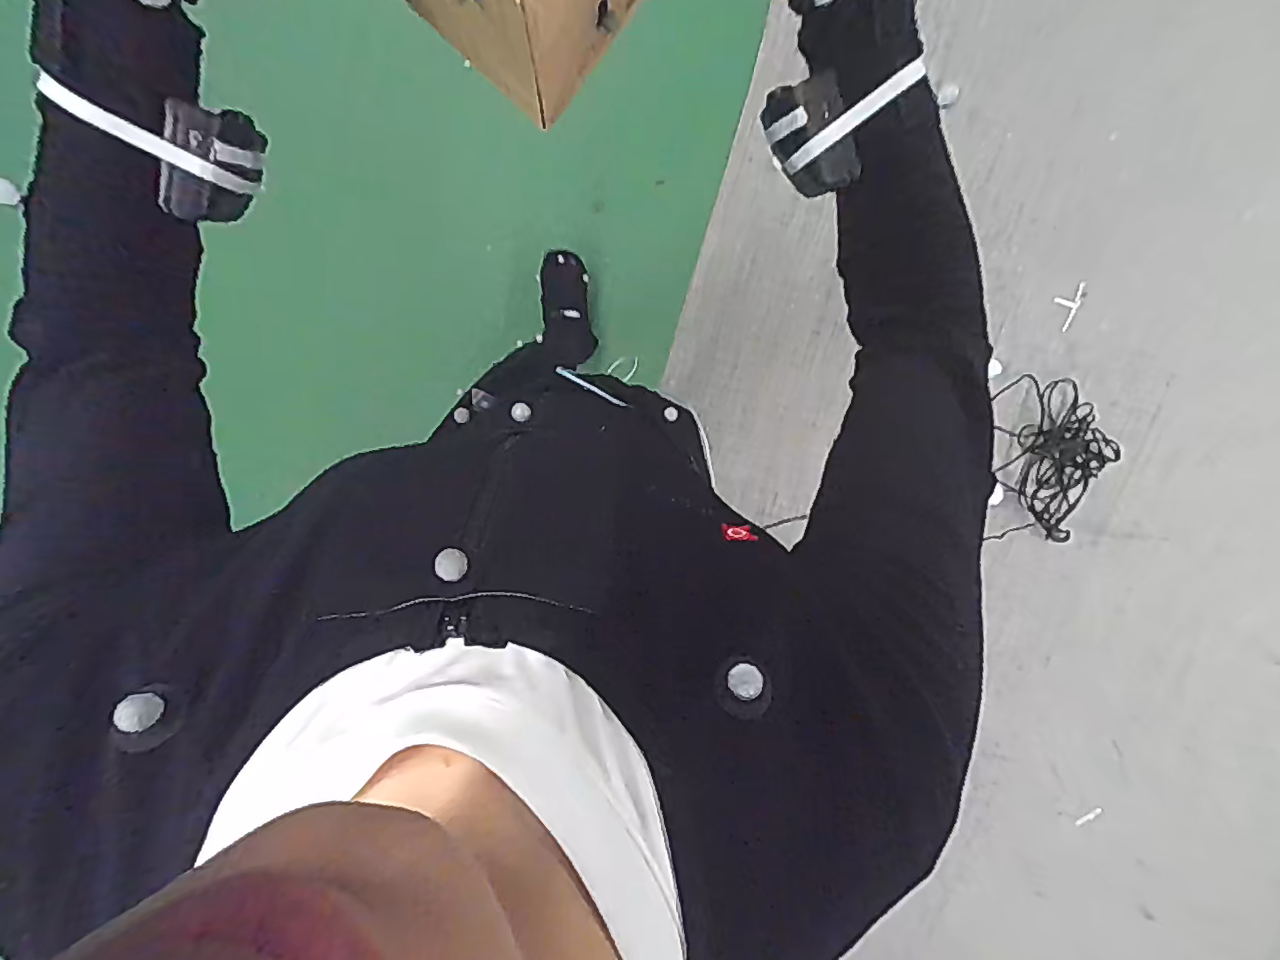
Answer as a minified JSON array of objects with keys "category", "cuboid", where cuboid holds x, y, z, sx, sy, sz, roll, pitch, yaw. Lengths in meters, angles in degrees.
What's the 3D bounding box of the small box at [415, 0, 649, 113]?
[{"category":"small box","cuboid":[-0.077,-0.374,0.323,0.179,0.176,0.168,39,96,-14]}]
